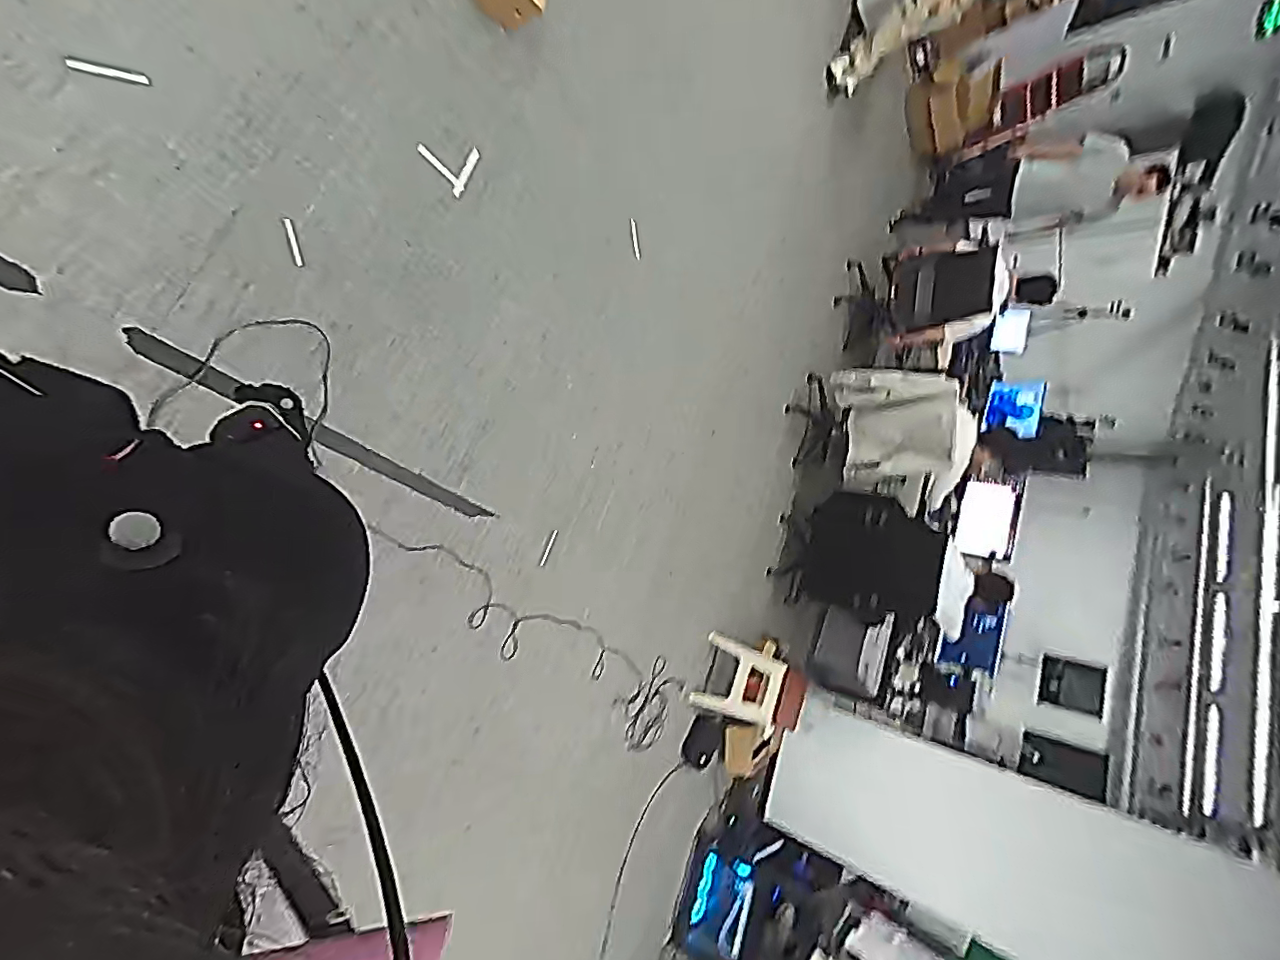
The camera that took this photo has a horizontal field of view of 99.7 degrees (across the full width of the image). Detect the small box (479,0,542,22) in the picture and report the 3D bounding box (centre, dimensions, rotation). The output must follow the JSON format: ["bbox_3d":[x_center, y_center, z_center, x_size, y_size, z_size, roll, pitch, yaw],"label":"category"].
[{"bbox_3d":[-0.400,-1.521,1.607,0.179,0.176,0.168,10,87,-50],"label":"small box"}]
